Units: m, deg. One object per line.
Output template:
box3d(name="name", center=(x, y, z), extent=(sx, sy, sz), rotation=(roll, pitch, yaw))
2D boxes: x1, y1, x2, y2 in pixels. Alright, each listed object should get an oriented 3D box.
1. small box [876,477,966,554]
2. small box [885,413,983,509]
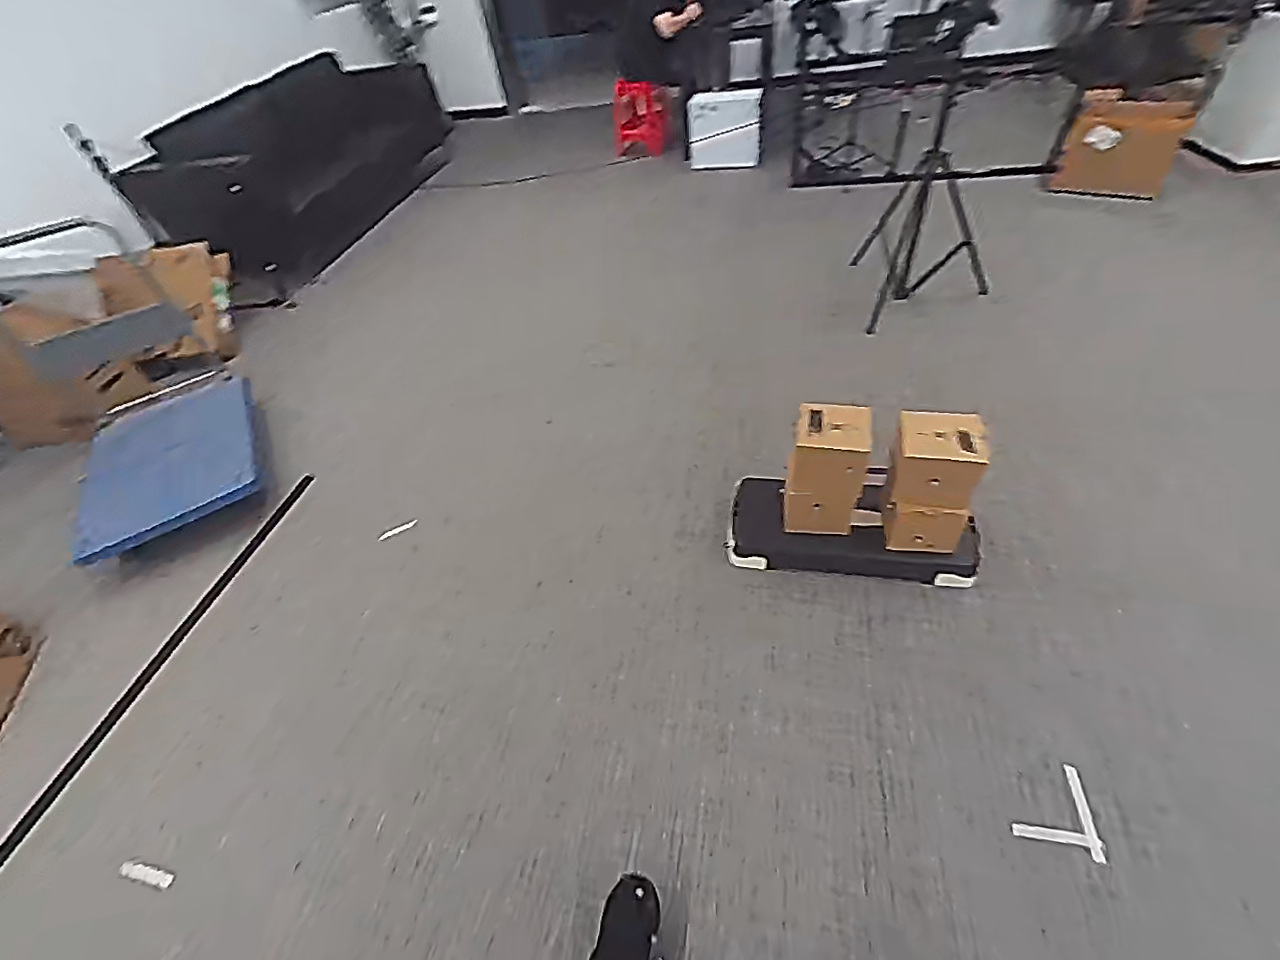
box3d(name="small box", center=(0.744, 0.076, 1.455), extent=(0.168, 0.176, 0.179), rotation=(2, 48, 11))
box3d(name="small box", center=(0.722, -0.045, 1.346), extent=(0.179, 0.176, 0.168), rotation=(6, 49, 16))
